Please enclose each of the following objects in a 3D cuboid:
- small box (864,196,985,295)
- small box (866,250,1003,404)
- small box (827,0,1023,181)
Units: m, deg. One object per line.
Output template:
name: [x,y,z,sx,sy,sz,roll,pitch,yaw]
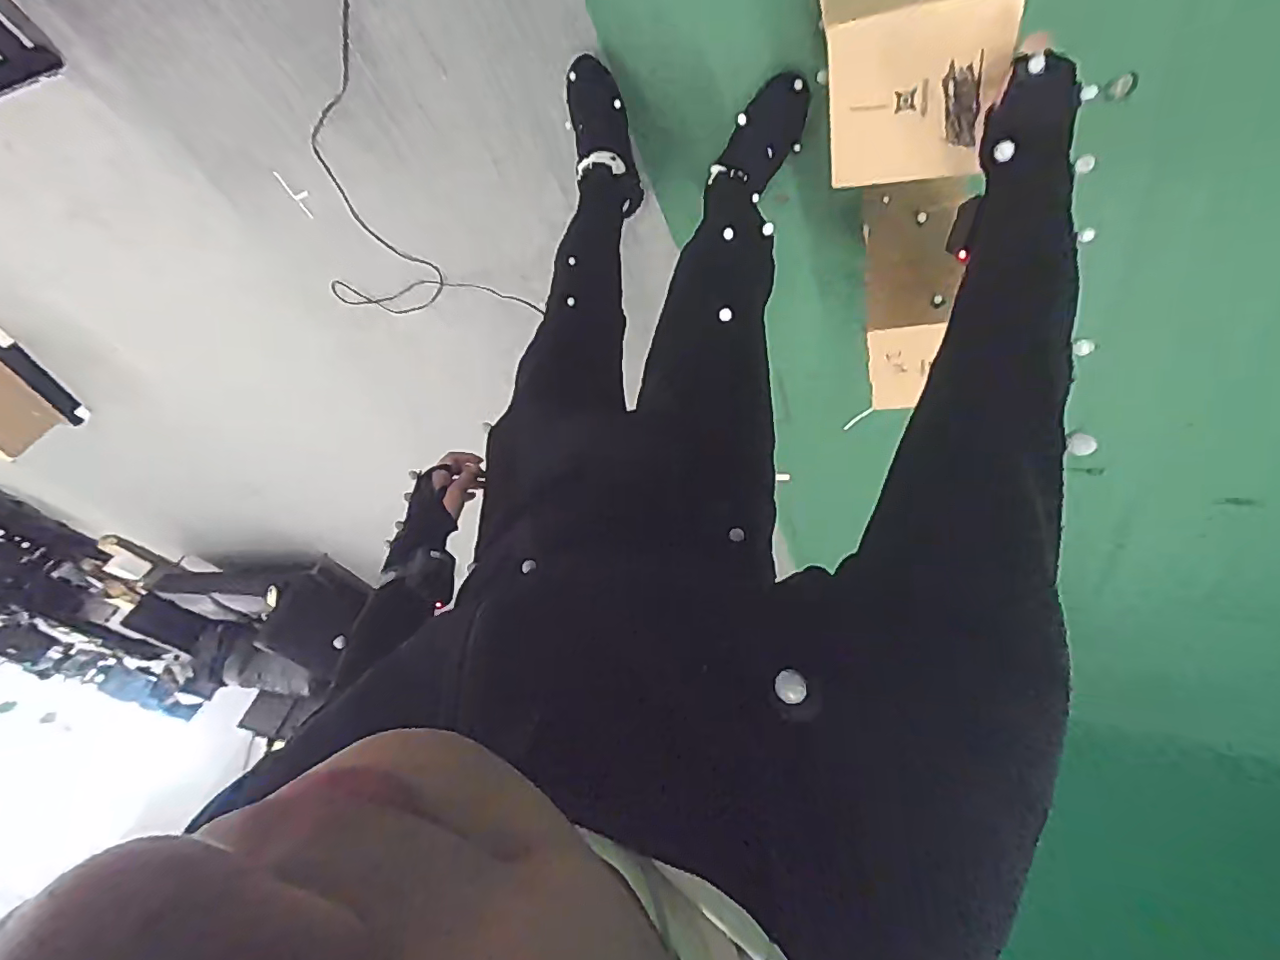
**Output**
small box: [0.506,-0.373,0.968,0.179,0.176,0.168,-1,142,28]
small box: [0.464,-0.245,0.873,0.179,0.176,0.168,-1,141,26]
small box: [0.311,-0.480,0.622,0.179,0.176,0.168,1,141,22]
